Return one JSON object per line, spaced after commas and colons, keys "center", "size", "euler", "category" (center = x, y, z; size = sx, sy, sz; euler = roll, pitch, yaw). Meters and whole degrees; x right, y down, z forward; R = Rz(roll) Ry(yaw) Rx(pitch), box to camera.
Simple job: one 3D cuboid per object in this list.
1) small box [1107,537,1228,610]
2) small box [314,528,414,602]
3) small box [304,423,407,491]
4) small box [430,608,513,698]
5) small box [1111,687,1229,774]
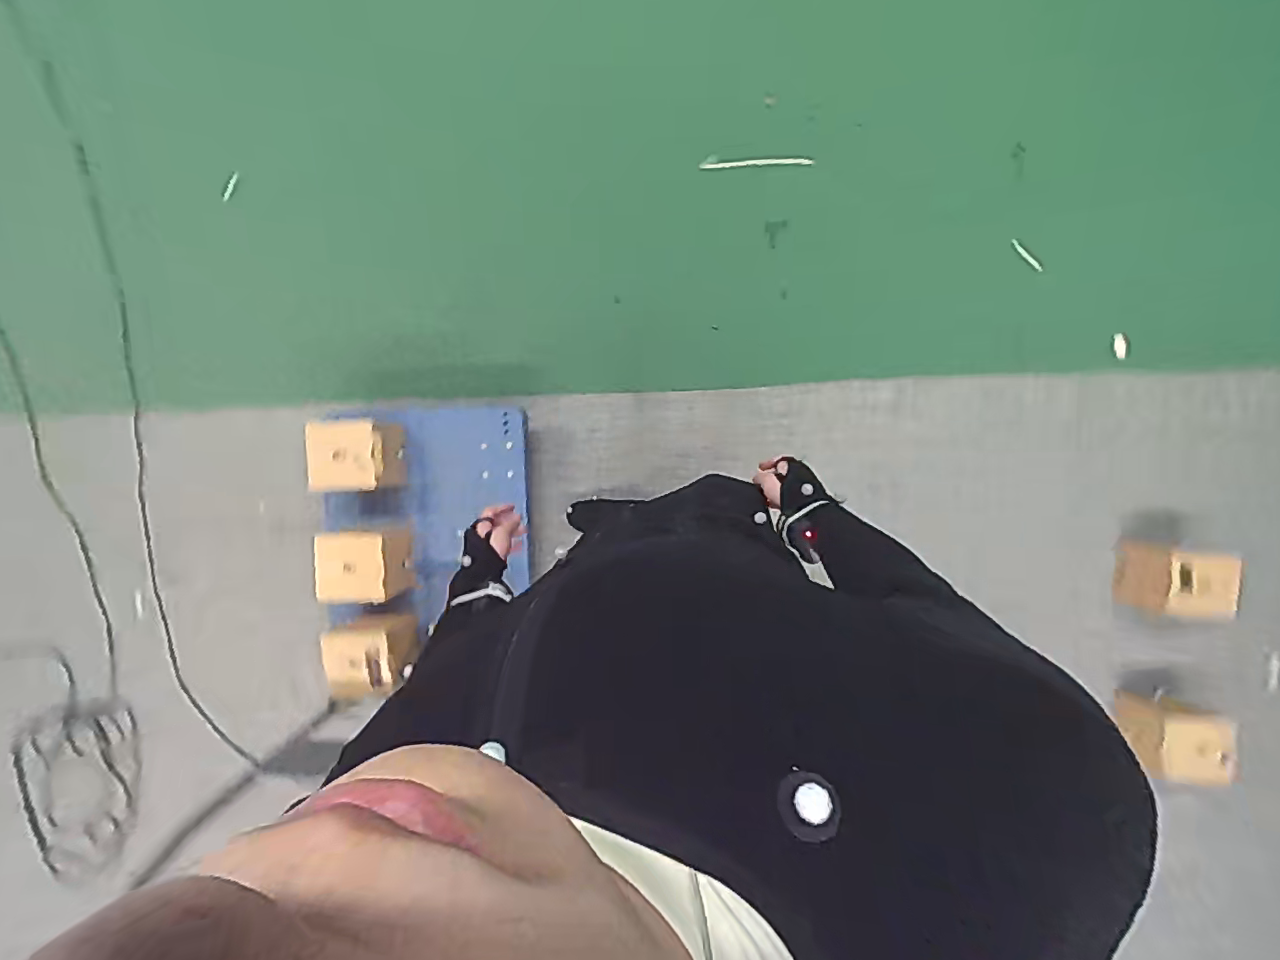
{"center": [1.464, 0.255, 1.513], "size": [0.179, 0.176, 0.168], "euler": [3, 93, 2], "category": "small box"}
{"center": [-0.721, 0.220, 1.424], "size": [0.179, 0.176, 0.168], "euler": [-2, 92, 2], "category": "small box"}
{"center": [-0.736, -0.060, 1.410], "size": [0.179, 0.176, 0.168], "euler": [-2, 93, 3], "category": "small box"}
{"center": [-0.435, 0.449, 1.418], "size": [0.168, 0.176, 0.179], "euler": [1, 92, 2], "category": "small box"}
{"center": [1.471, 0.692, 1.512], "size": [0.179, 0.176, 0.168], "euler": [0, 92, 4], "category": "small box"}
